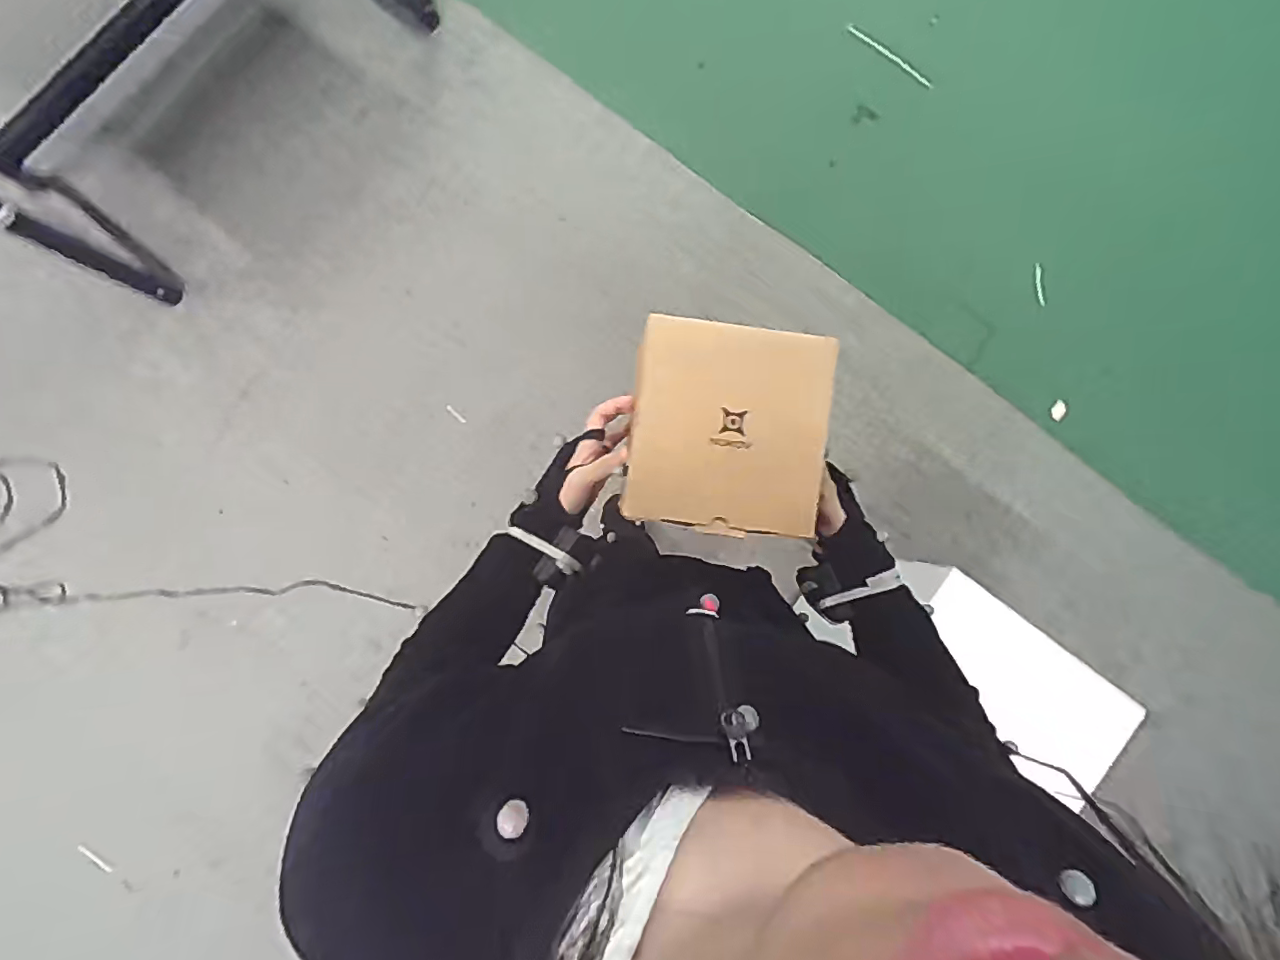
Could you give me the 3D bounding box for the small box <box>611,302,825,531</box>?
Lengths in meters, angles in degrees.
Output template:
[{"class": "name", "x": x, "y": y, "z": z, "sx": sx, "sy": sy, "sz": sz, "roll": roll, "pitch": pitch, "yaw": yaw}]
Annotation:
[{"class": "small box", "x": 0.061, "y": -0.050, "z": 0.519, "sx": 0.168, "sy": 0.176, "sz": 0.179, "roll": 5, "pitch": 89, "yaw": -3}]
